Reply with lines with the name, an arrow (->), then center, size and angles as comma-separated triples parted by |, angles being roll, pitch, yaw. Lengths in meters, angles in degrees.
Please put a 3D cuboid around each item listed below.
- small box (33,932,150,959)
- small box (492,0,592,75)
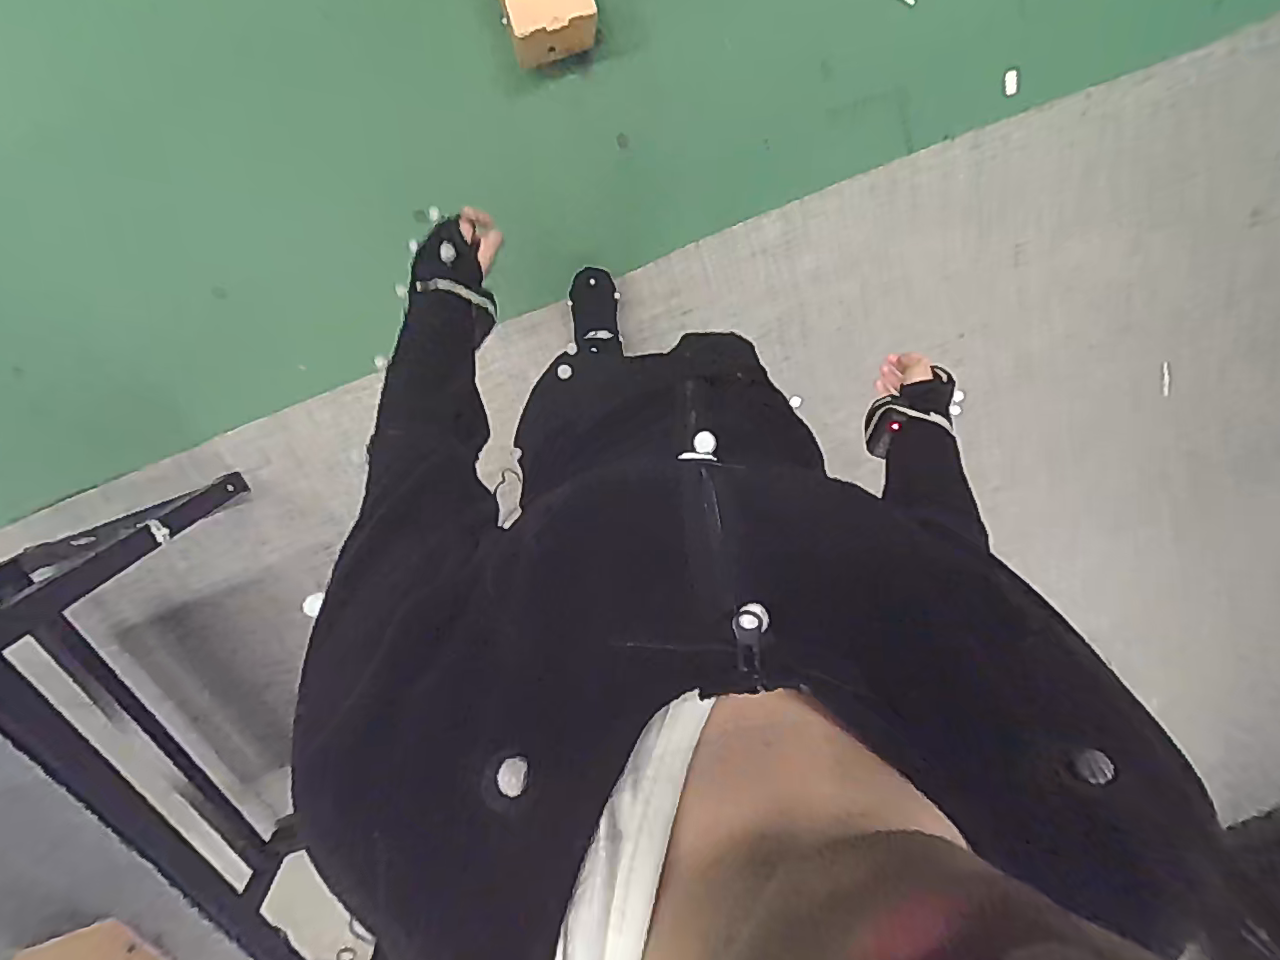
small box -> -0.906, 0.860, 0.837 | 0.179, 0.176, 0.168 | -21, 112, 0
small box -> -0.205, -0.957, 1.078 | 0.168, 0.176, 0.179 | -20, 112, -2
